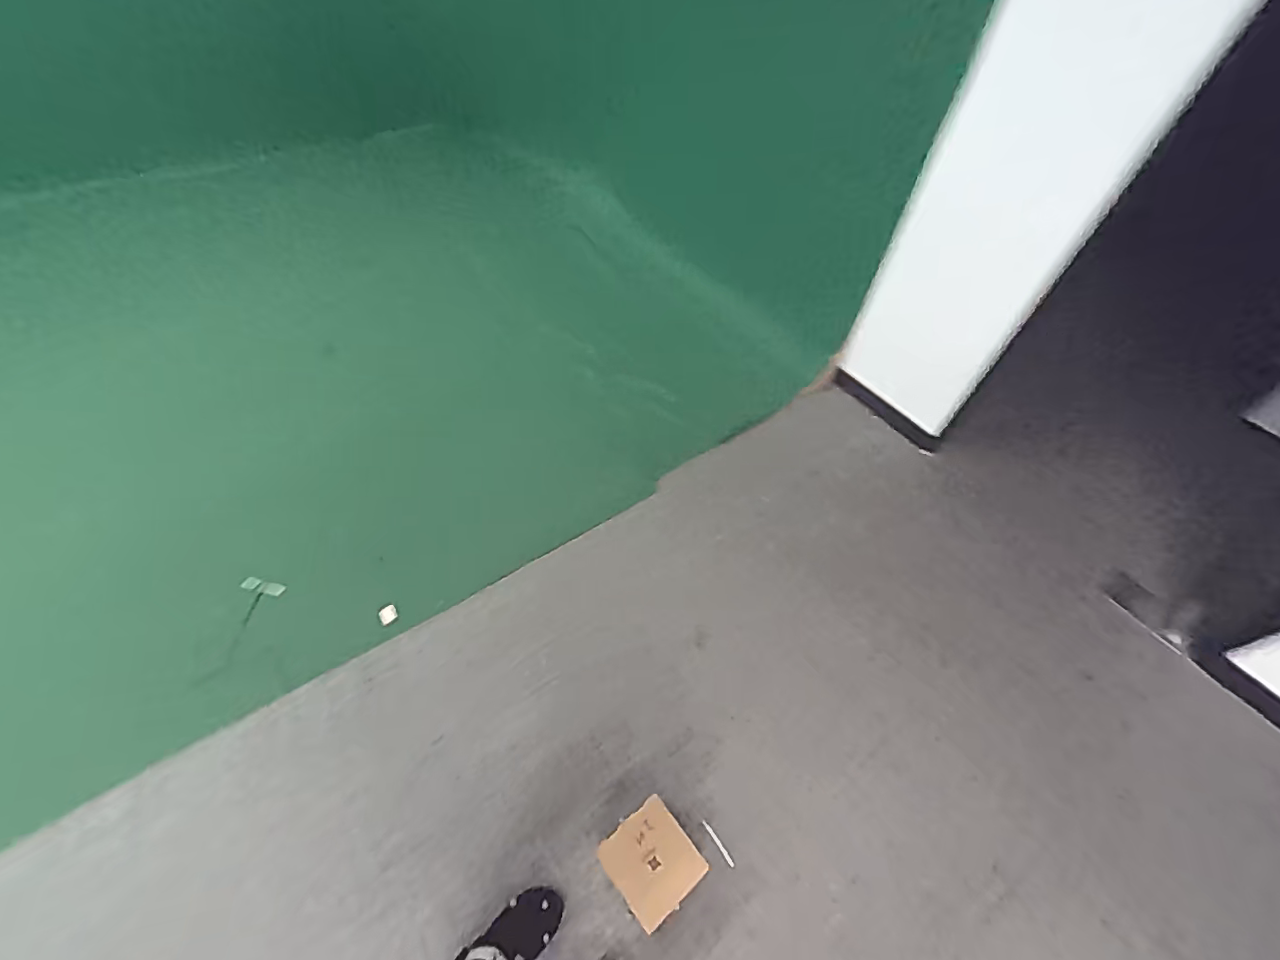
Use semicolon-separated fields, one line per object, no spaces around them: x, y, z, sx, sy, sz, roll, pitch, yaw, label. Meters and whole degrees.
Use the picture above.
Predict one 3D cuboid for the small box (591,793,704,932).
0.011;0.810;1.155;0.168;0.176;0.179;-30;60;-24;small box
